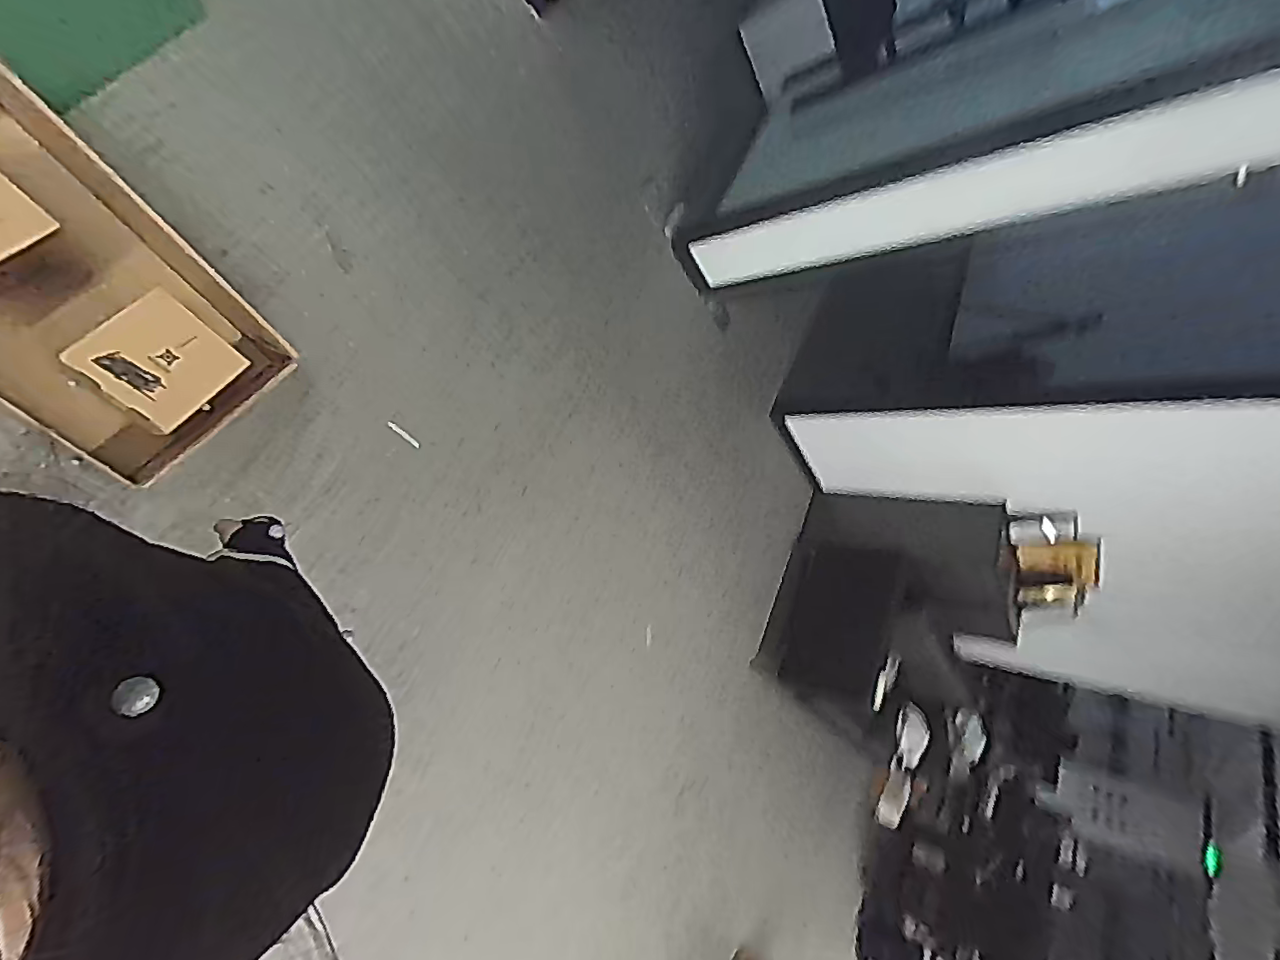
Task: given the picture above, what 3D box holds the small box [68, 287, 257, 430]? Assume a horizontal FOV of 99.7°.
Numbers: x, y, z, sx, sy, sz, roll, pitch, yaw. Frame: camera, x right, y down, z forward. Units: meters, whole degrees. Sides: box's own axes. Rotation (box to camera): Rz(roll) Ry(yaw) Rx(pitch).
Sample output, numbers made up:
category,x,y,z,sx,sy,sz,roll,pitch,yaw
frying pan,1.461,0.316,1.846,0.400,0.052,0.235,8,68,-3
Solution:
category,x,y,z,sx,sy,sz,roll,pitch,yaw
small box,-0.817,-0.200,0.933,0.168,0.176,0.179,53,56,-36
